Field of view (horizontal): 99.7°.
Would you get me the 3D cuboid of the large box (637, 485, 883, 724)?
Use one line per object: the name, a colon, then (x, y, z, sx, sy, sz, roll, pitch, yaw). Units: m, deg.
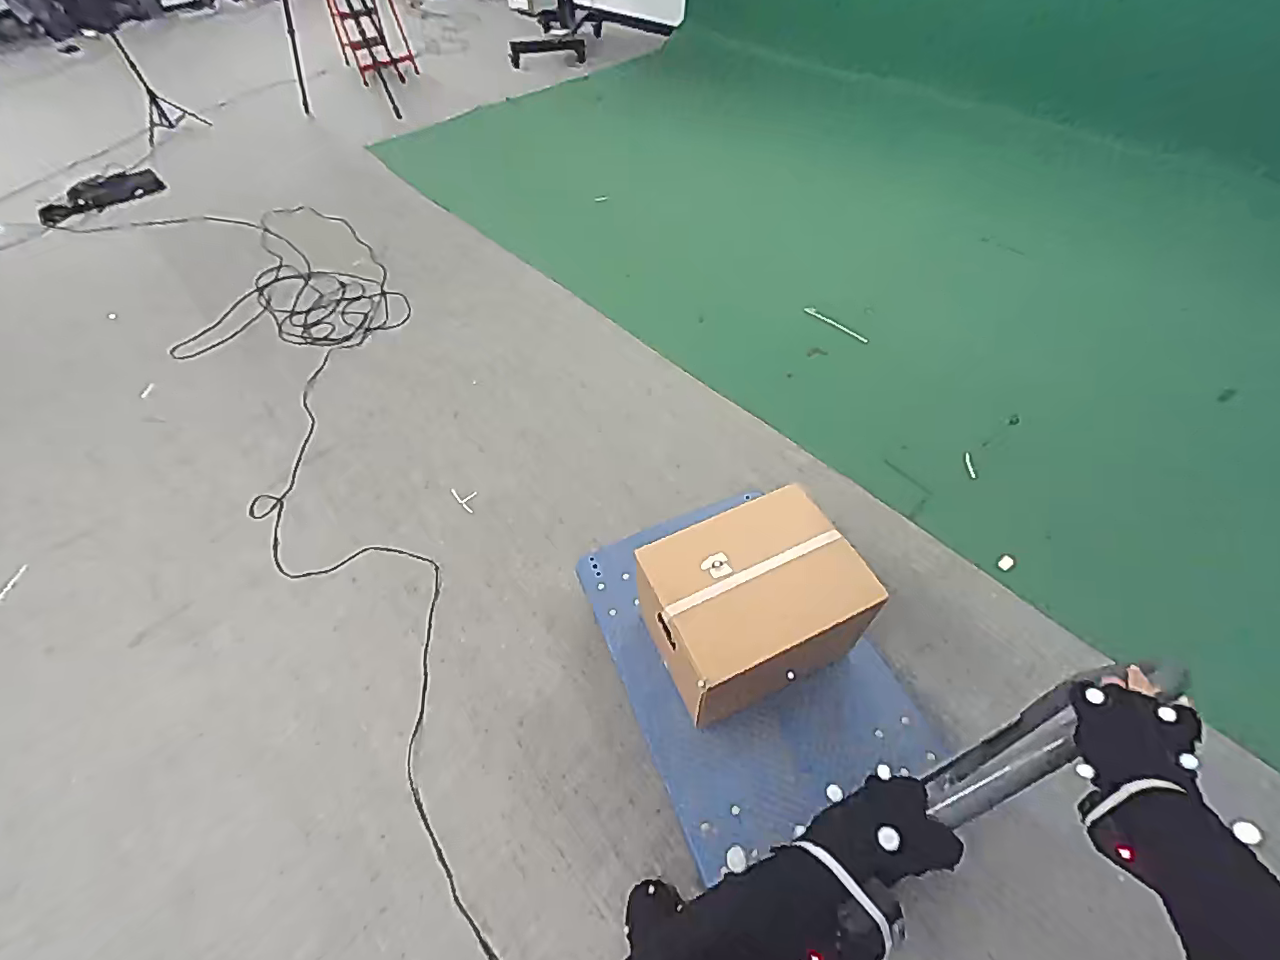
large box: (0.242, 0.279, 1.207, 0.408, 0.320, 0.320, -22, 55, -13)
